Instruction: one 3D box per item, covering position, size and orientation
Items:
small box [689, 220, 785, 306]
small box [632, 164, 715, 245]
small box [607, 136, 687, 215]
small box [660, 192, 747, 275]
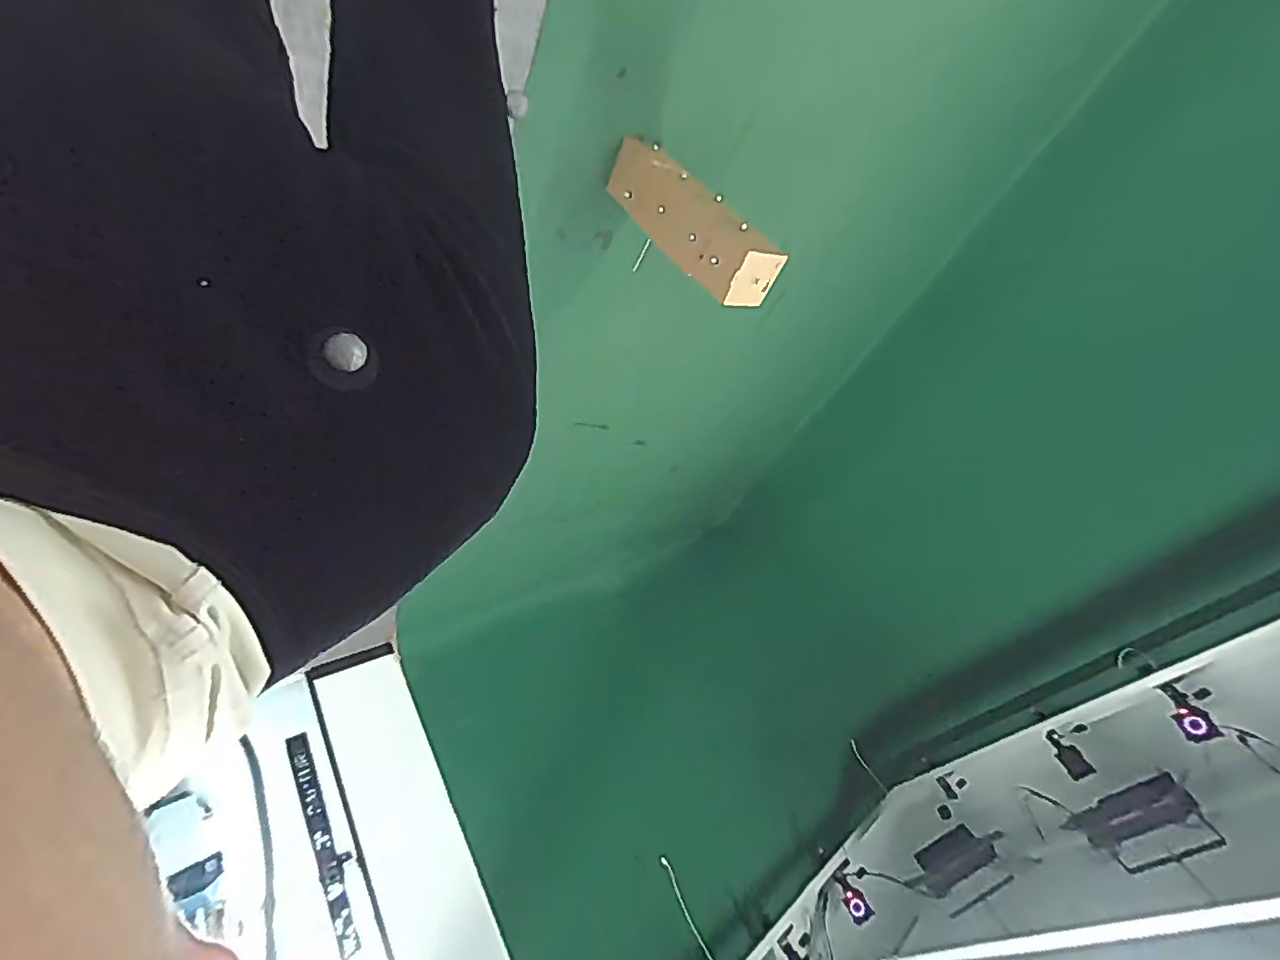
[{"bbox_3d":[0.275,-0.631,1.570,0.179,0.176,0.168,-11,145,-38],"label":"small box"},{"bbox_3d":[0.098,-0.865,1.717,0.168,0.176,0.179,-12,146,-39],"label":"small box"},{"bbox_3d":[0.015,-0.989,1.781,0.168,0.176,0.179,-10,145,-41],"label":"small box"},{"bbox_3d":[0.186,-0.746,1.645,0.168,0.176,0.179,-13,147,-37],"label":"small box"}]
